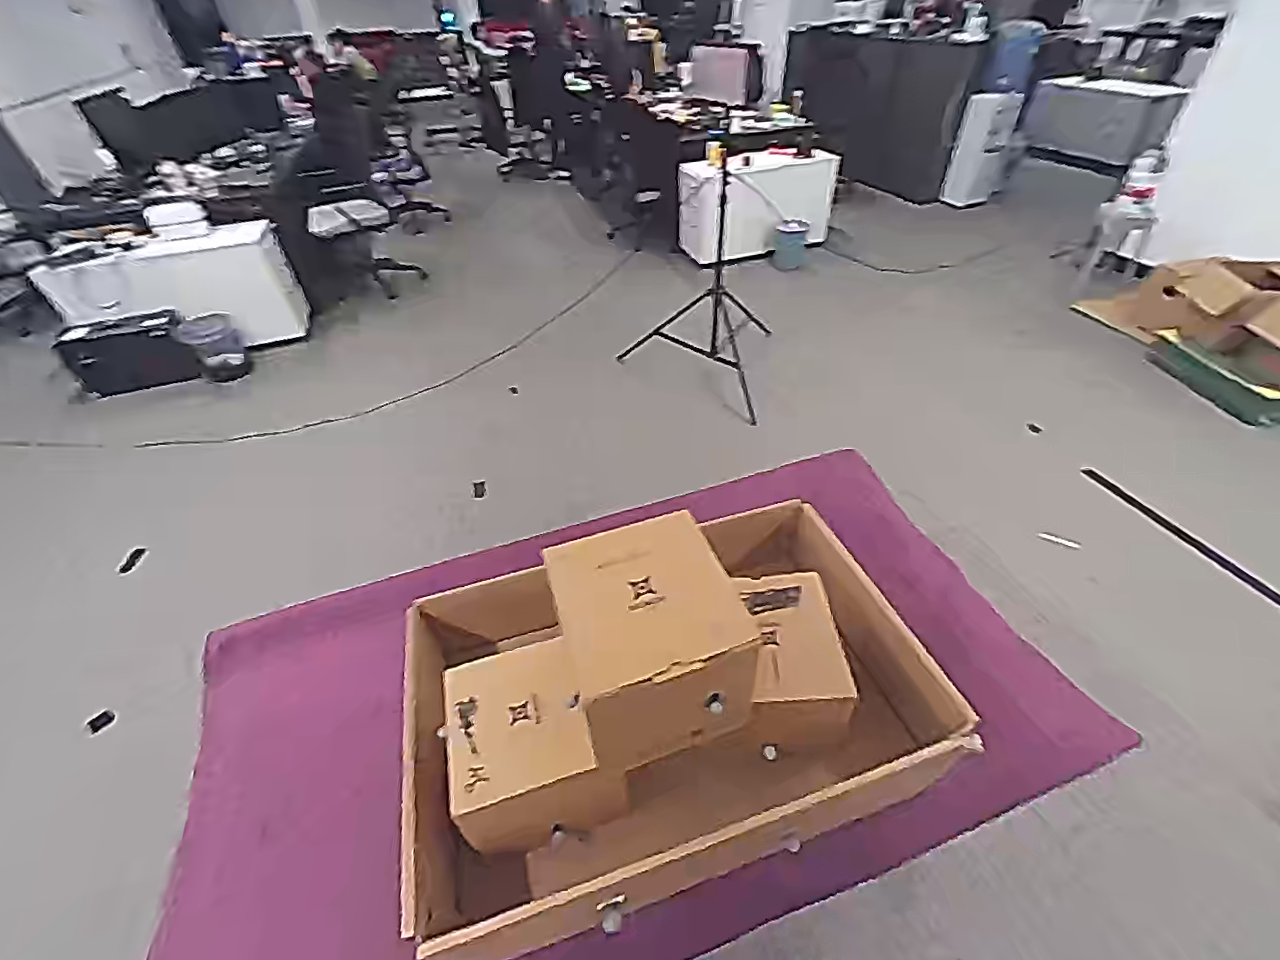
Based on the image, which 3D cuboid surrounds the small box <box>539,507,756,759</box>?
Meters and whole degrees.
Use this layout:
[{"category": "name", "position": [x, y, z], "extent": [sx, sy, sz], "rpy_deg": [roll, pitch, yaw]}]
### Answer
[{"category": "small box", "position": [0.003, 0.162, 0.563], "extent": [0.168, 0.176, 0.179], "rpy_deg": [-15, 42, -13]}]
